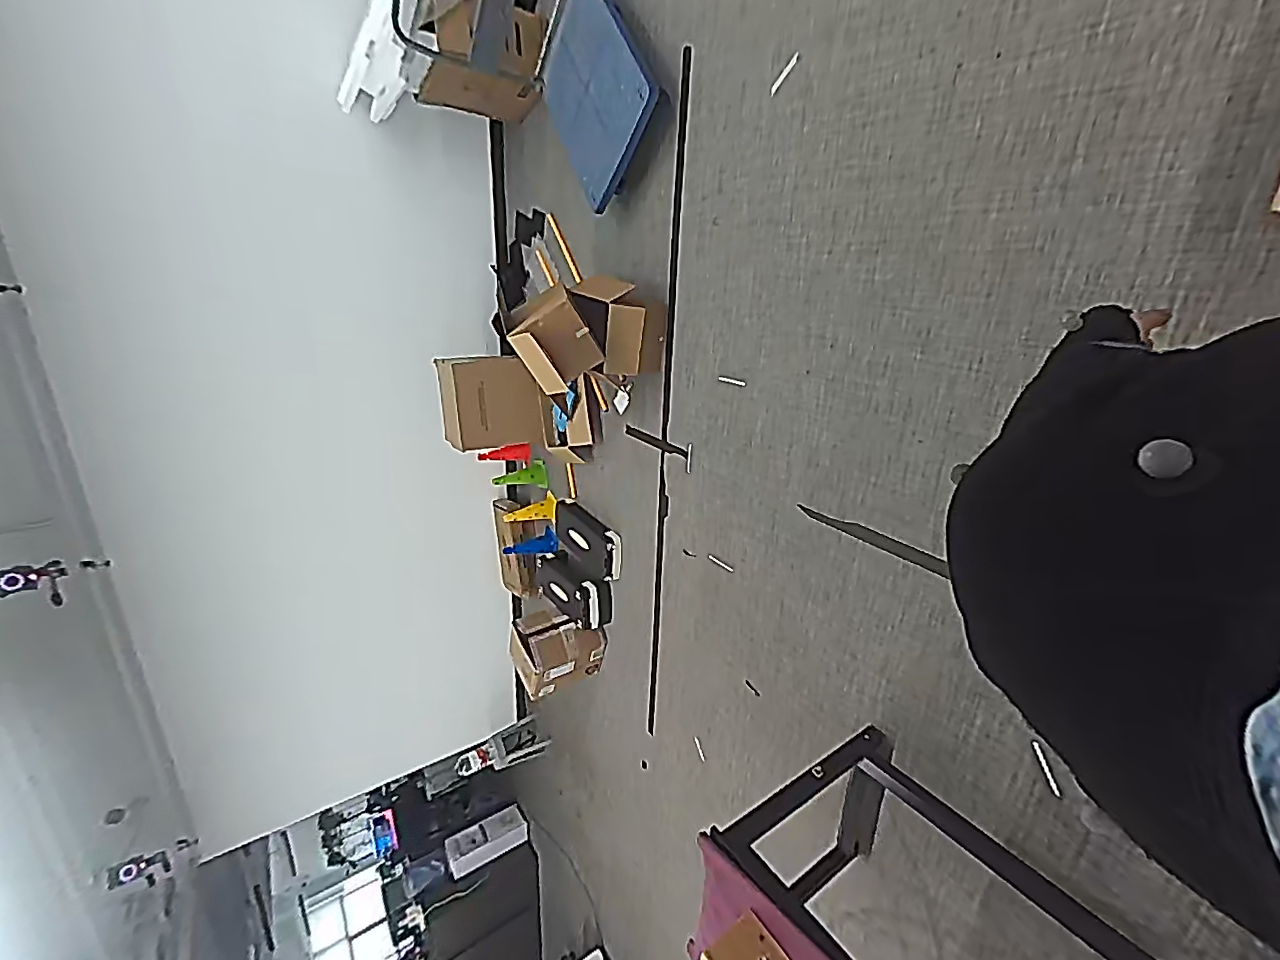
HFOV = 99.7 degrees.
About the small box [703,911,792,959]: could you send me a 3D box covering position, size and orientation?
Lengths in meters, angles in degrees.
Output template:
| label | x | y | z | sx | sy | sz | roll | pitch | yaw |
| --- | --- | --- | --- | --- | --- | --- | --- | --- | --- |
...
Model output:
| label | x | y | z | sx | sy | sz | roll | pitch | yaw |
| --- | --- | --- | --- | --- | --- | --- | --- | --- | --- |
| small box | 0.264 | 1.210 | 1.306 | 0.168 | 0.176 | 0.179 | 33 | 127 | 48 |
